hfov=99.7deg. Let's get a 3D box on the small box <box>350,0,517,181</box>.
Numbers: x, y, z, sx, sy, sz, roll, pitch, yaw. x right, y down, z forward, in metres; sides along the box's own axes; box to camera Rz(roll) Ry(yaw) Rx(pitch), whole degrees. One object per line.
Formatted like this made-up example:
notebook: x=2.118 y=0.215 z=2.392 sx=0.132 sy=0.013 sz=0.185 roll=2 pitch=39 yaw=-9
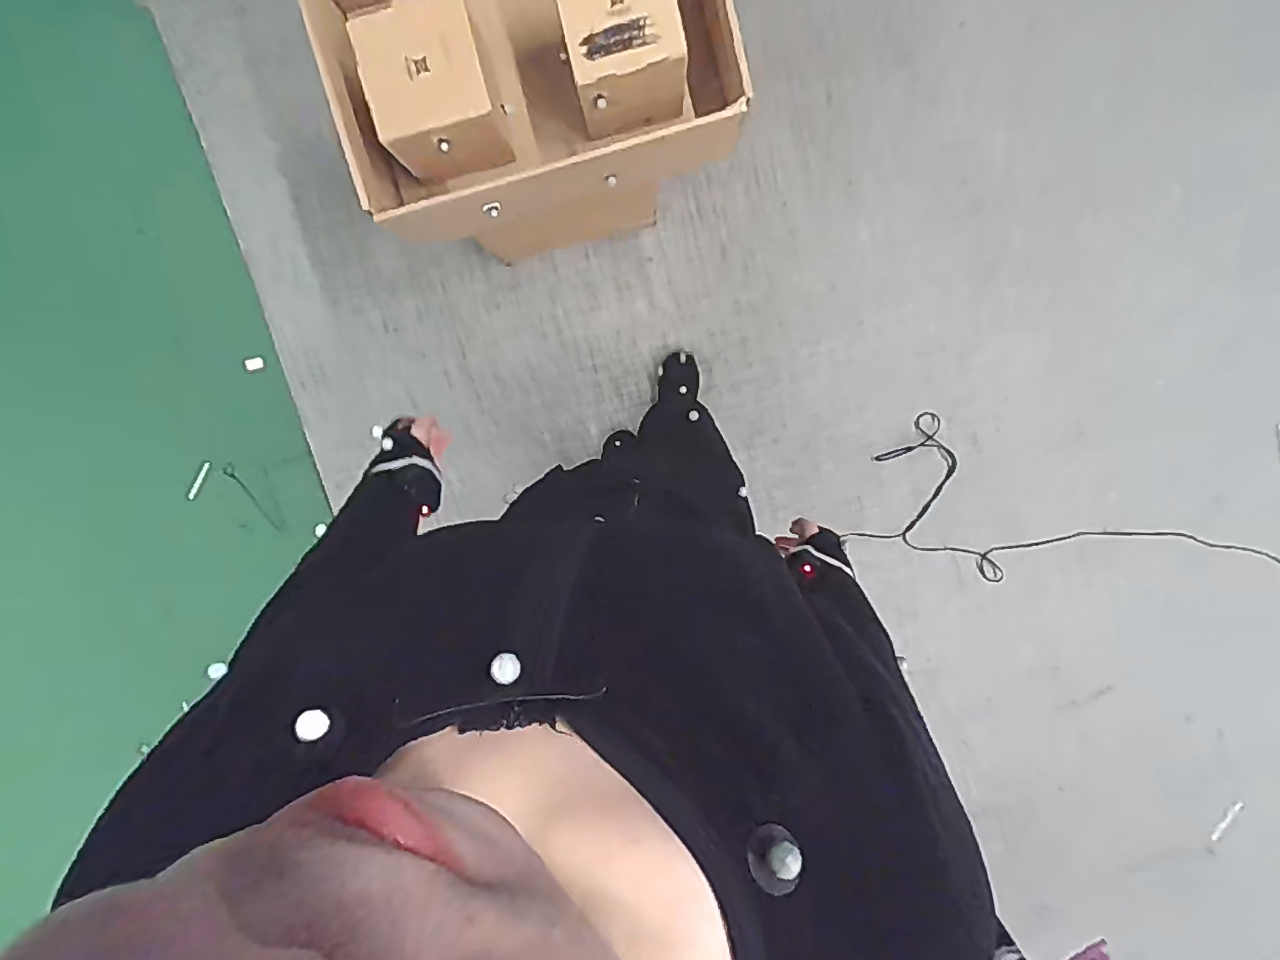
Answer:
small box: x=-0.313 y=-0.603 z=0.856 sx=0.179 sy=0.176 sz=0.168 roll=-12 pitch=98 yaw=2
